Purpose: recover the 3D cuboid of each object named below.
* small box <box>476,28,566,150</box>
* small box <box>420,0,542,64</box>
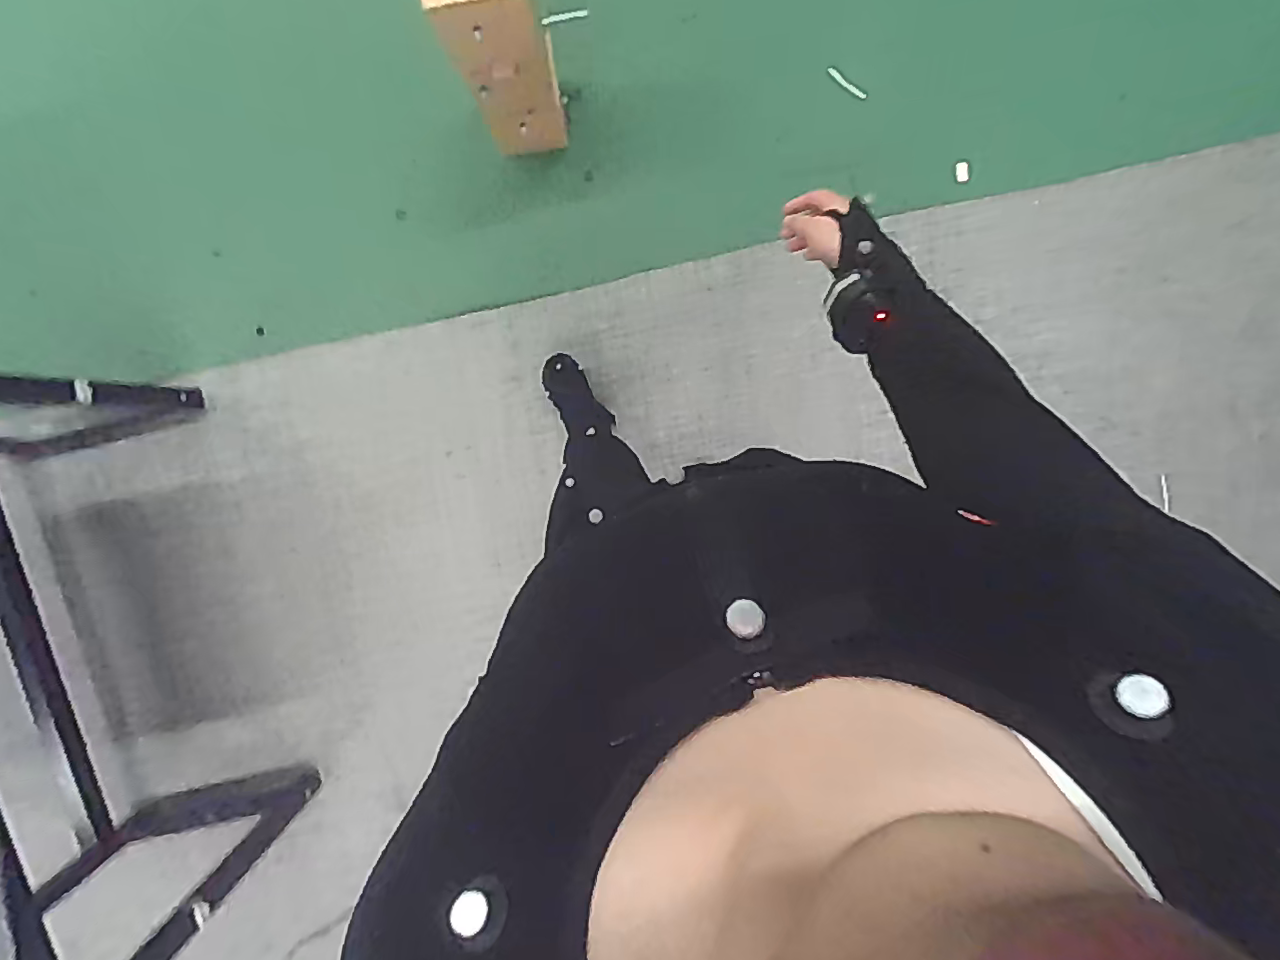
[{"bbox_3d":[-0.277,-0.919,1.286,0.179,0.176,0.168,-9,97,1],"label":"small box"},{"bbox_3d":[-0.287,-0.884,0.959,0.179,0.176,0.168,-10,96,1],"label":"small box"}]
